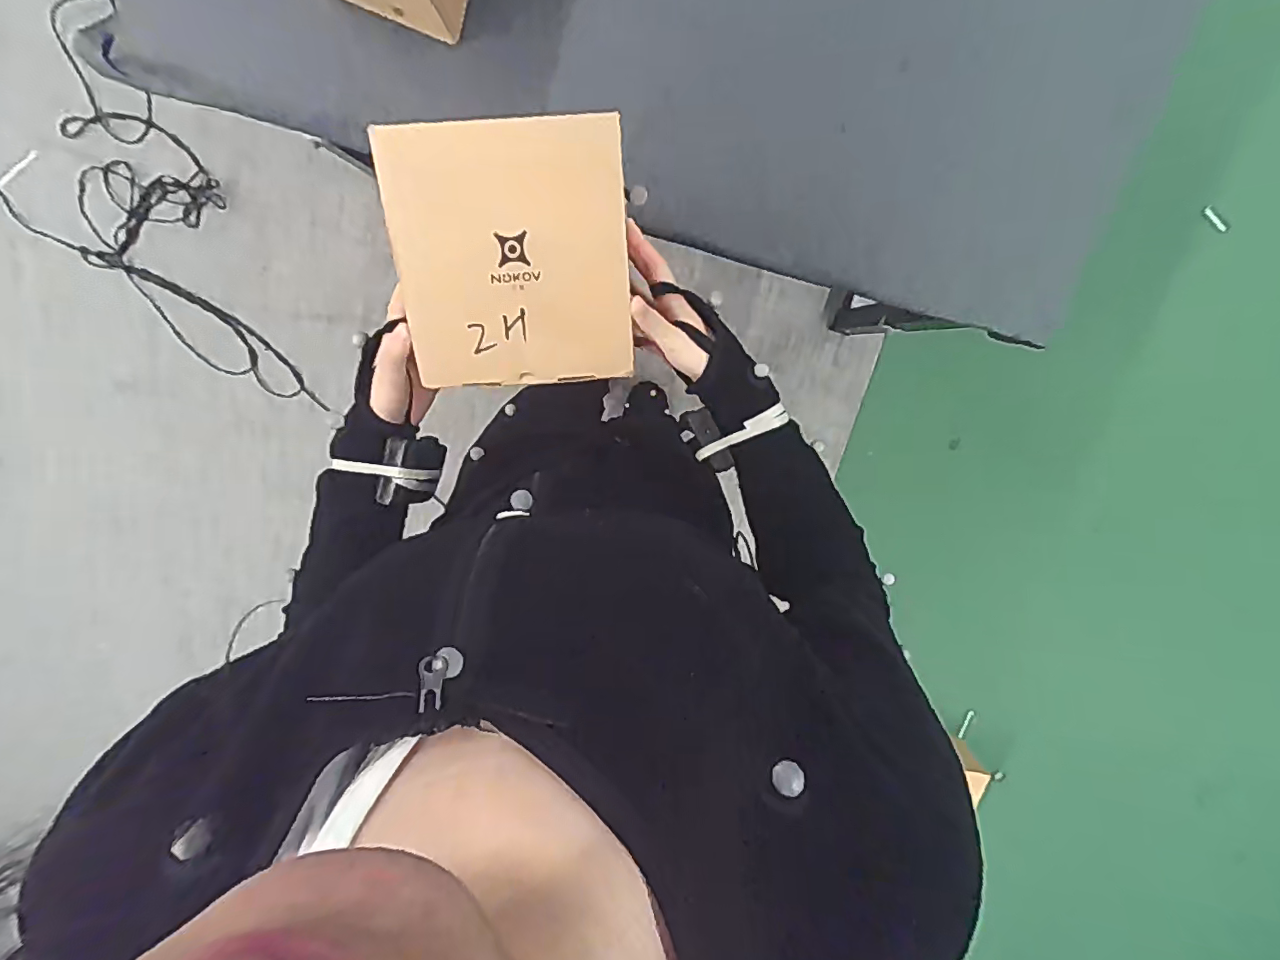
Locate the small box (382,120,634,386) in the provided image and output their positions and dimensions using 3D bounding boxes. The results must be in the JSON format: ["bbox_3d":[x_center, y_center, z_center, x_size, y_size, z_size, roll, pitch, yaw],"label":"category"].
[{"bbox_3d":[-0.092,-0.185,0.464,0.168,0.176,0.179,-3,112,-1],"label":"small box"}]
